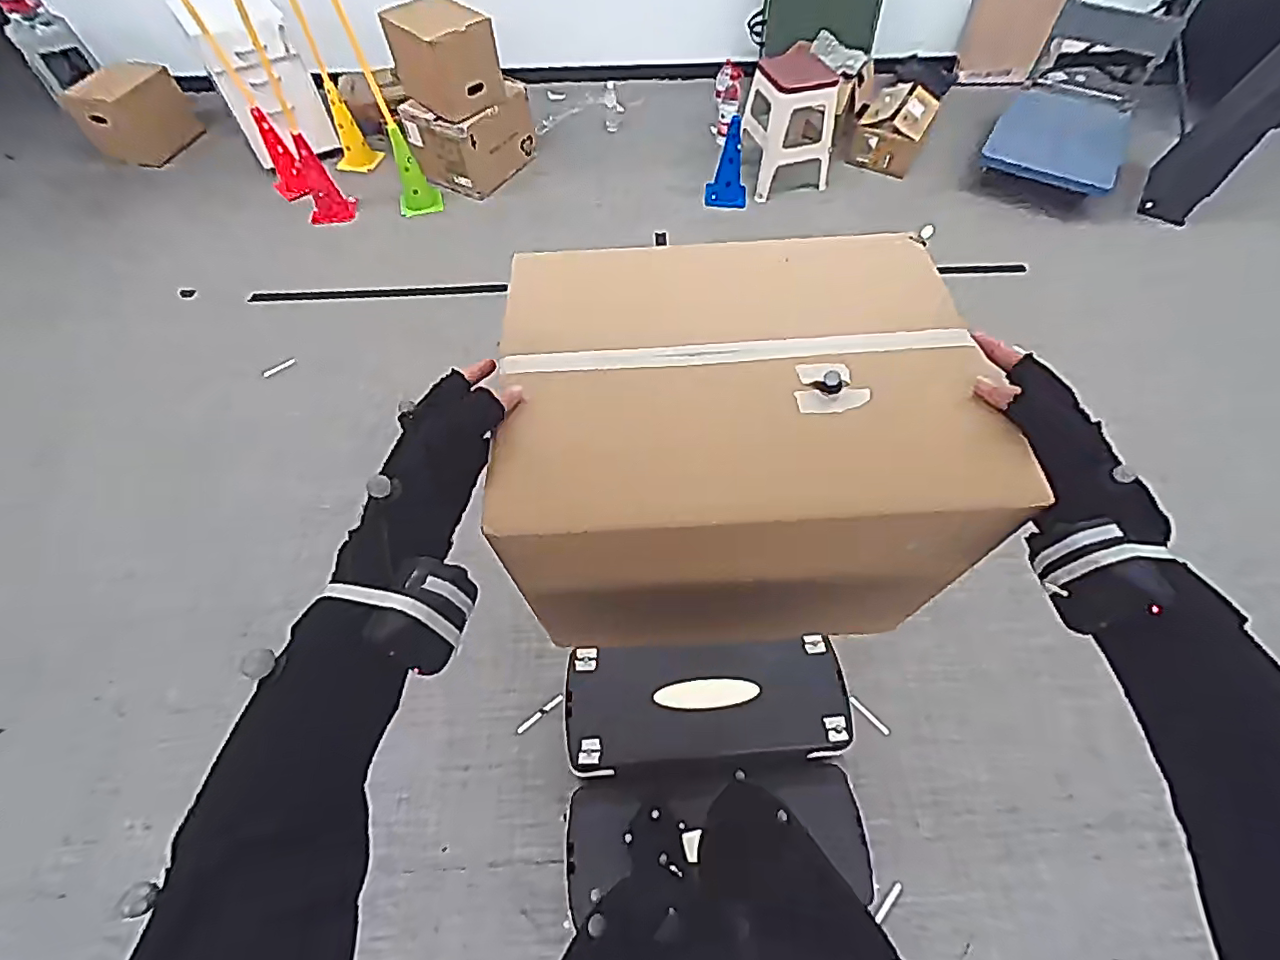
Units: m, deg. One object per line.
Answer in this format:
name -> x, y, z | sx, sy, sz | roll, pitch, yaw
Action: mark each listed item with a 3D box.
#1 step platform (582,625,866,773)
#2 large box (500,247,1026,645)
step platform -> 0.196, 0.542, 1.359 | 0.684, 0.204, 0.286 | -4, 58, -3
large box -> 0.085, -0.021, 0.603 | 0.408, 0.320, 0.320 | -3, 59, 0
